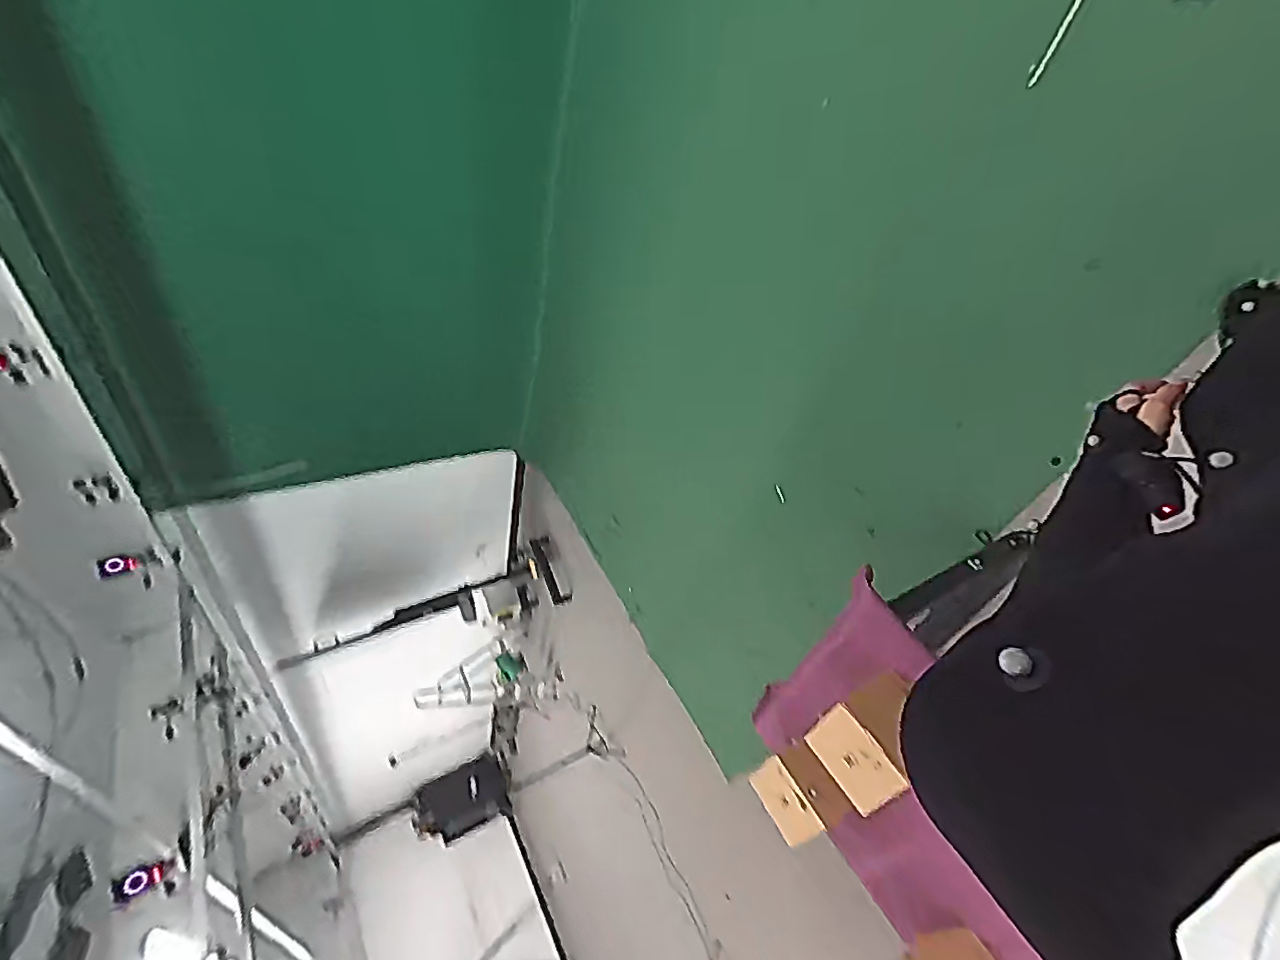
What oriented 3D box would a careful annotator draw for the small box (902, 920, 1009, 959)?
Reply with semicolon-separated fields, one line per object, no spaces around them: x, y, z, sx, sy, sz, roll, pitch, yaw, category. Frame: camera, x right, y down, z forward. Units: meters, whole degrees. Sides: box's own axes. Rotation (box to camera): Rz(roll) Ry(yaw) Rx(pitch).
0.646;1.029;1.080;0.168;0.176;0.179;53;142;30;small box

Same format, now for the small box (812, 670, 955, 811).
0.490;0.521;1.093;0.168;0.176;0.179;49;141;32;small box

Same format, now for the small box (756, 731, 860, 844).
0.419;0.730;1.303;0.168;0.176;0.179;51;142;31;small box
